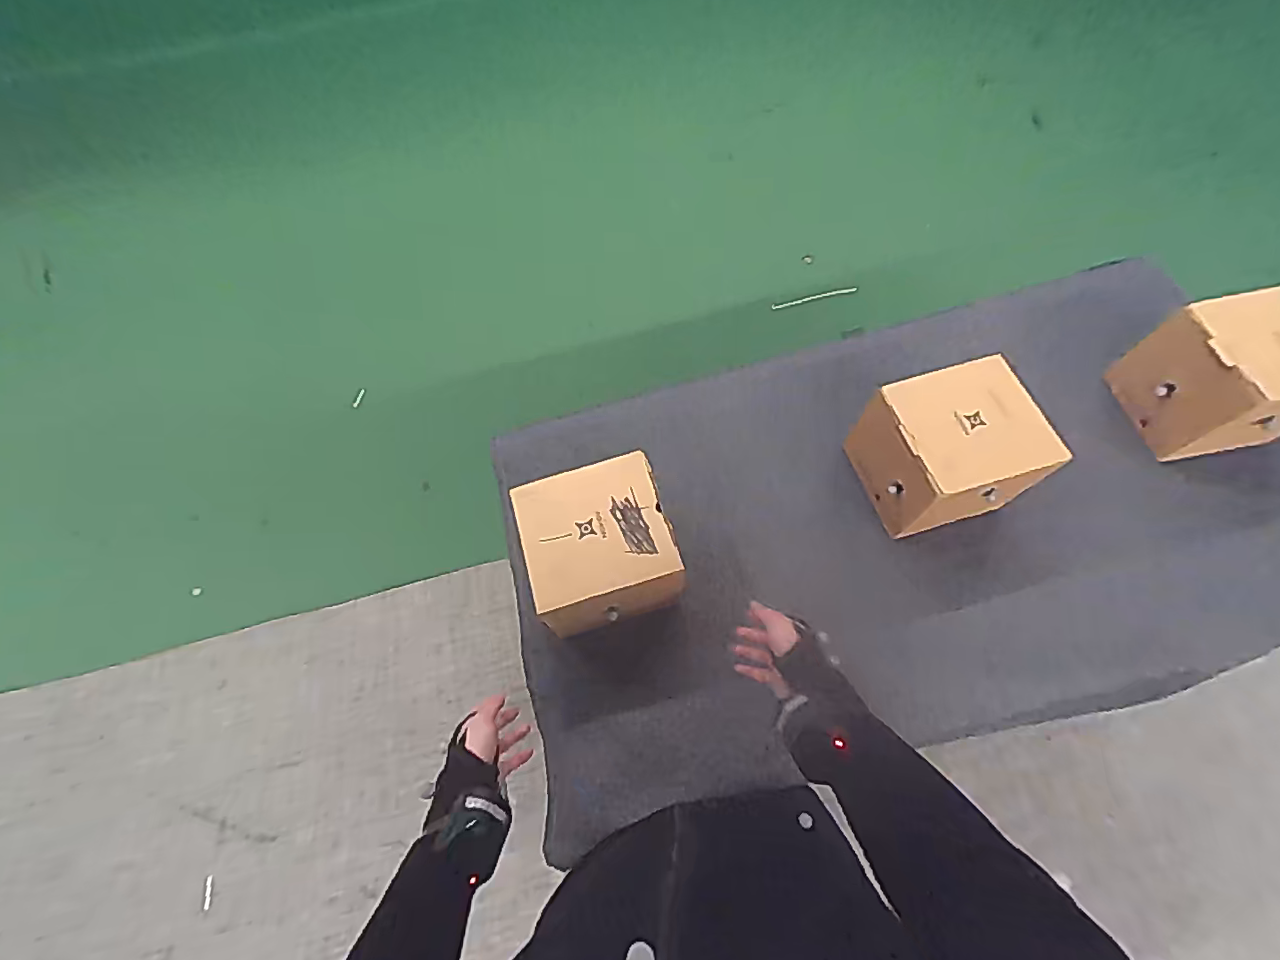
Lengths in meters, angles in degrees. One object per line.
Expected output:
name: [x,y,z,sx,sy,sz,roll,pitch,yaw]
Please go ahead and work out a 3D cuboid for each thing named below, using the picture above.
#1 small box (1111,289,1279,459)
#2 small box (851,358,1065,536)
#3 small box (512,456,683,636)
small box: [0.841,-0.146,0.779,0.179,0.176,0.168,-10,65,-1]
small box: [0.419,-0.037,0.756,0.179,0.176,0.168,-16,66,-5]
small box: [-0.051,0.095,0.717,0.179,0.176,0.168,-17,65,-4]
